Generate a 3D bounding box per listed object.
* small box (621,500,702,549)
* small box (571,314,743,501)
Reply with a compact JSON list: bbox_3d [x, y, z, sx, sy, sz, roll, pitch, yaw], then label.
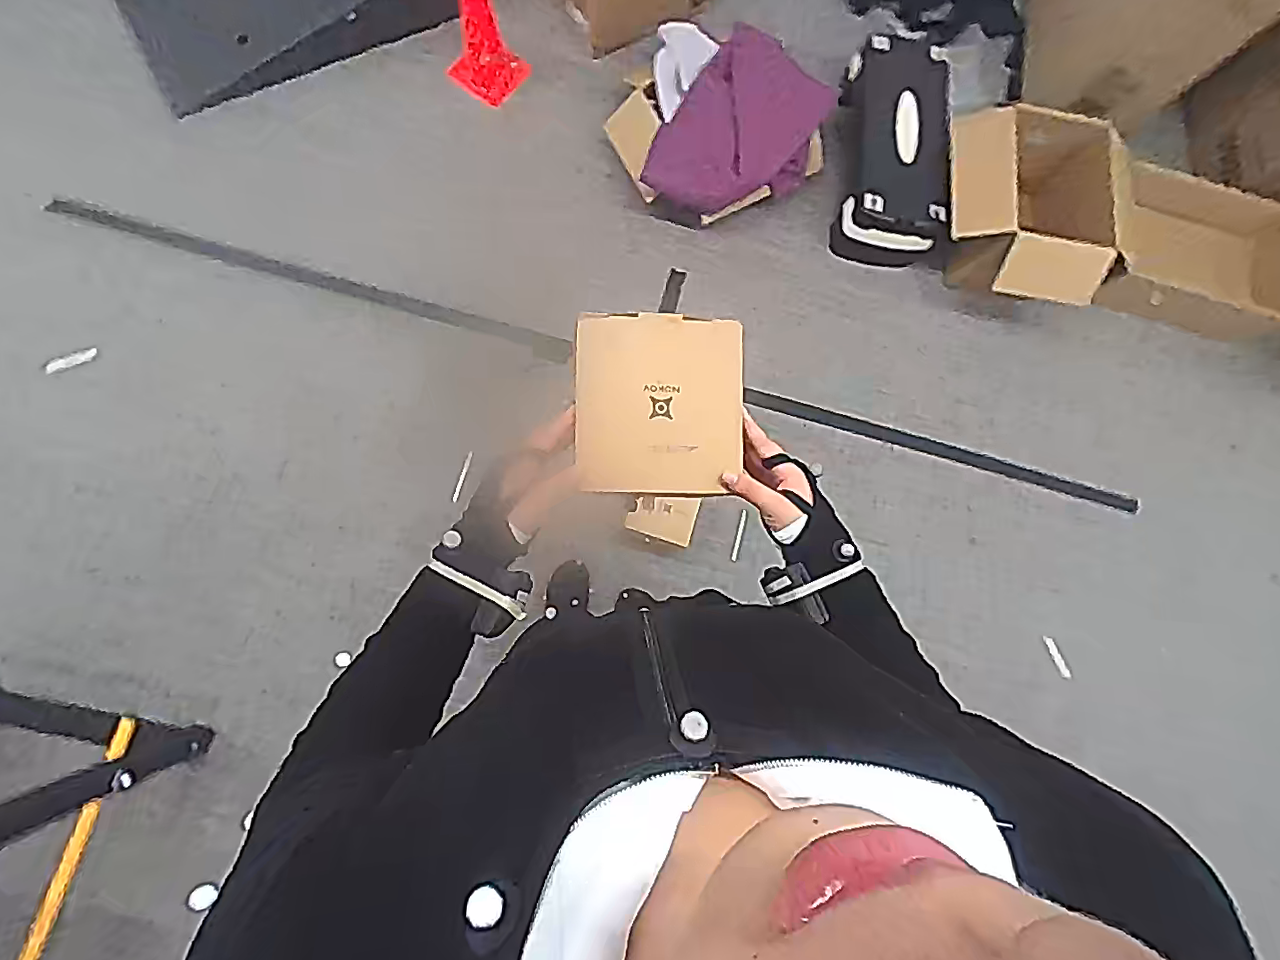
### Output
[{"bbox_3d":[0.055,0.086,1.470,0.179,0.176,0.168,19,79,-3],"label":"small box"},{"bbox_3d":[0.009,-0.067,0.602,0.168,0.176,0.179,0,87,-8],"label":"small box"}]
